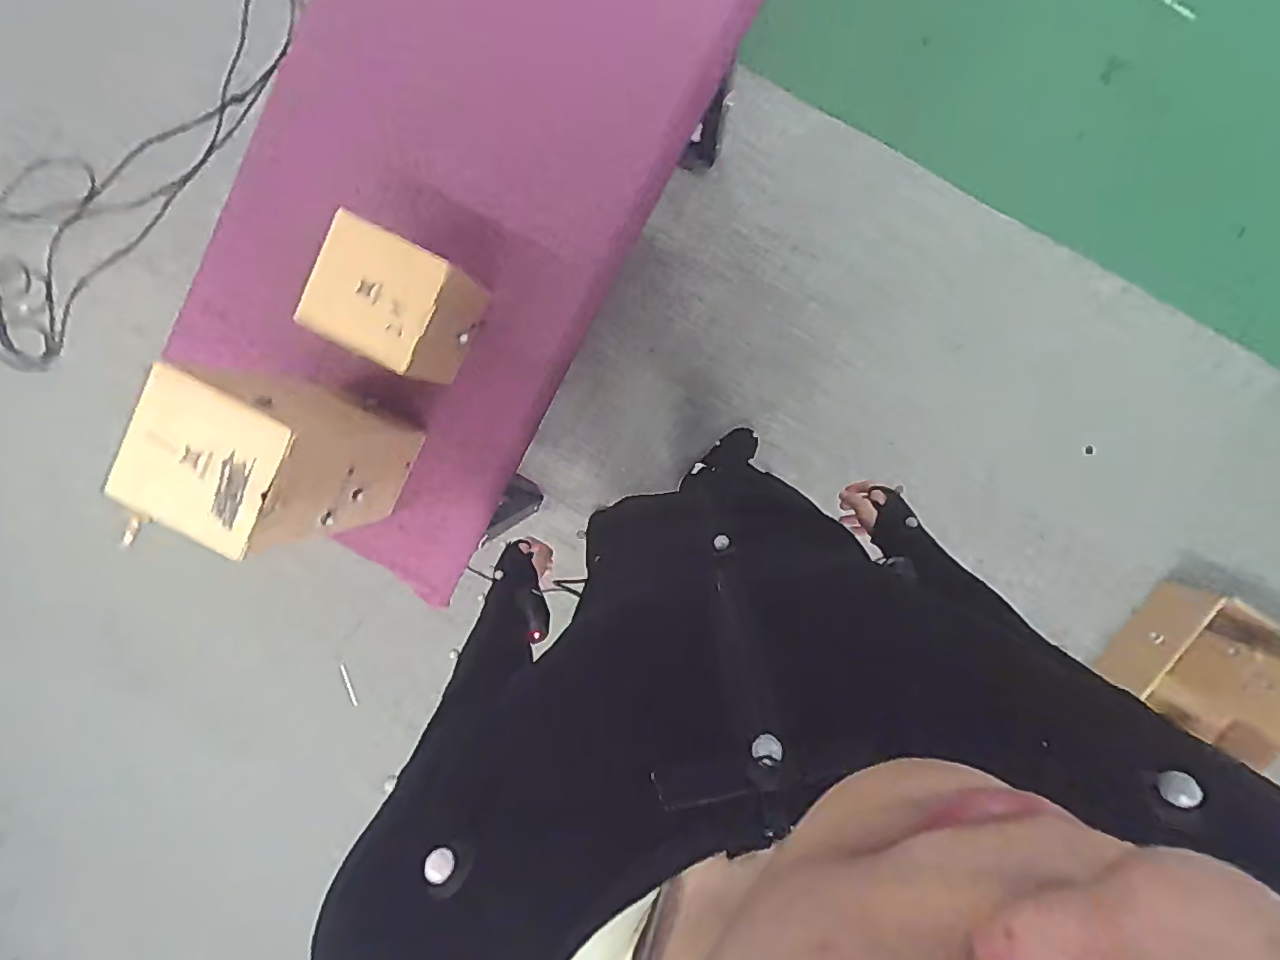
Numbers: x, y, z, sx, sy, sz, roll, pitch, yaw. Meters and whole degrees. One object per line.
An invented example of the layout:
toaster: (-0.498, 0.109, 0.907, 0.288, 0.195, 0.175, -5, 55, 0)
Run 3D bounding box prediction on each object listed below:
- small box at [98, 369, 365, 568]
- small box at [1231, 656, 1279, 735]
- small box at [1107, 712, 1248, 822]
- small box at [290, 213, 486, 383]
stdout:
small box: (-0.483, -0.019, 0.669, 0.179, 0.176, 0.168, 27, 95, 1)
small box: (1.608, 0.553, 1.287, 0.179, 0.176, 0.168, 33, 97, -1)
small box: (1.456, 0.773, 1.478, 0.179, 0.176, 0.168, 33, 95, 0)
small box: (-0.362, -0.255, 0.808, 0.179, 0.176, 0.168, 27, 96, 0)
